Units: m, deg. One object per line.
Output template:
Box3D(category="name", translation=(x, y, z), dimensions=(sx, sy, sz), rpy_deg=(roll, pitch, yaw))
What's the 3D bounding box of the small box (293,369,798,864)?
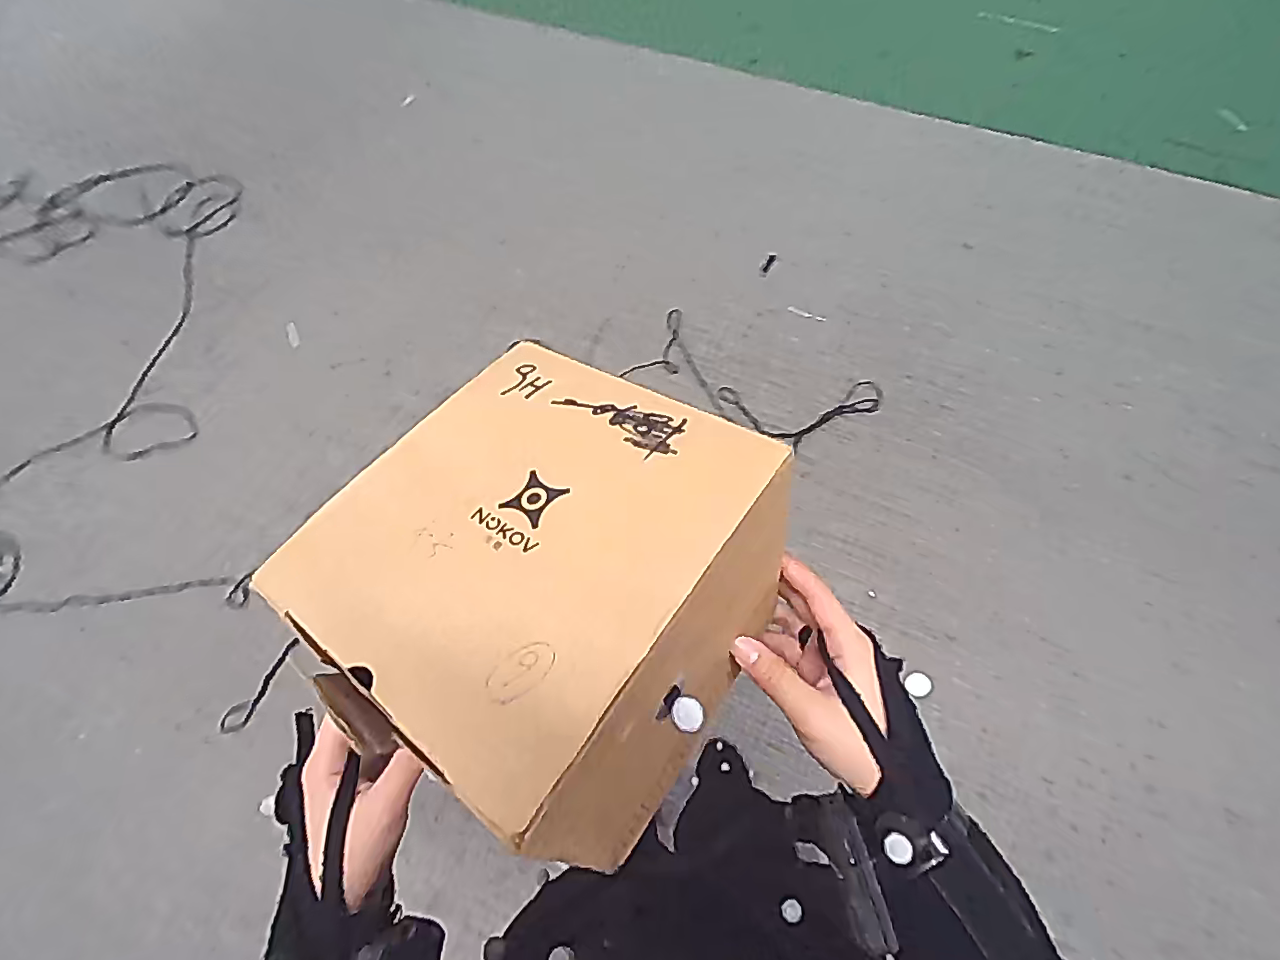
Box3D(category="small box", translation=(-0.030, 0.076, 0.300), dimensions=(0.168, 0.176, 0.179), rpy_deg=(27, 62, 27))
